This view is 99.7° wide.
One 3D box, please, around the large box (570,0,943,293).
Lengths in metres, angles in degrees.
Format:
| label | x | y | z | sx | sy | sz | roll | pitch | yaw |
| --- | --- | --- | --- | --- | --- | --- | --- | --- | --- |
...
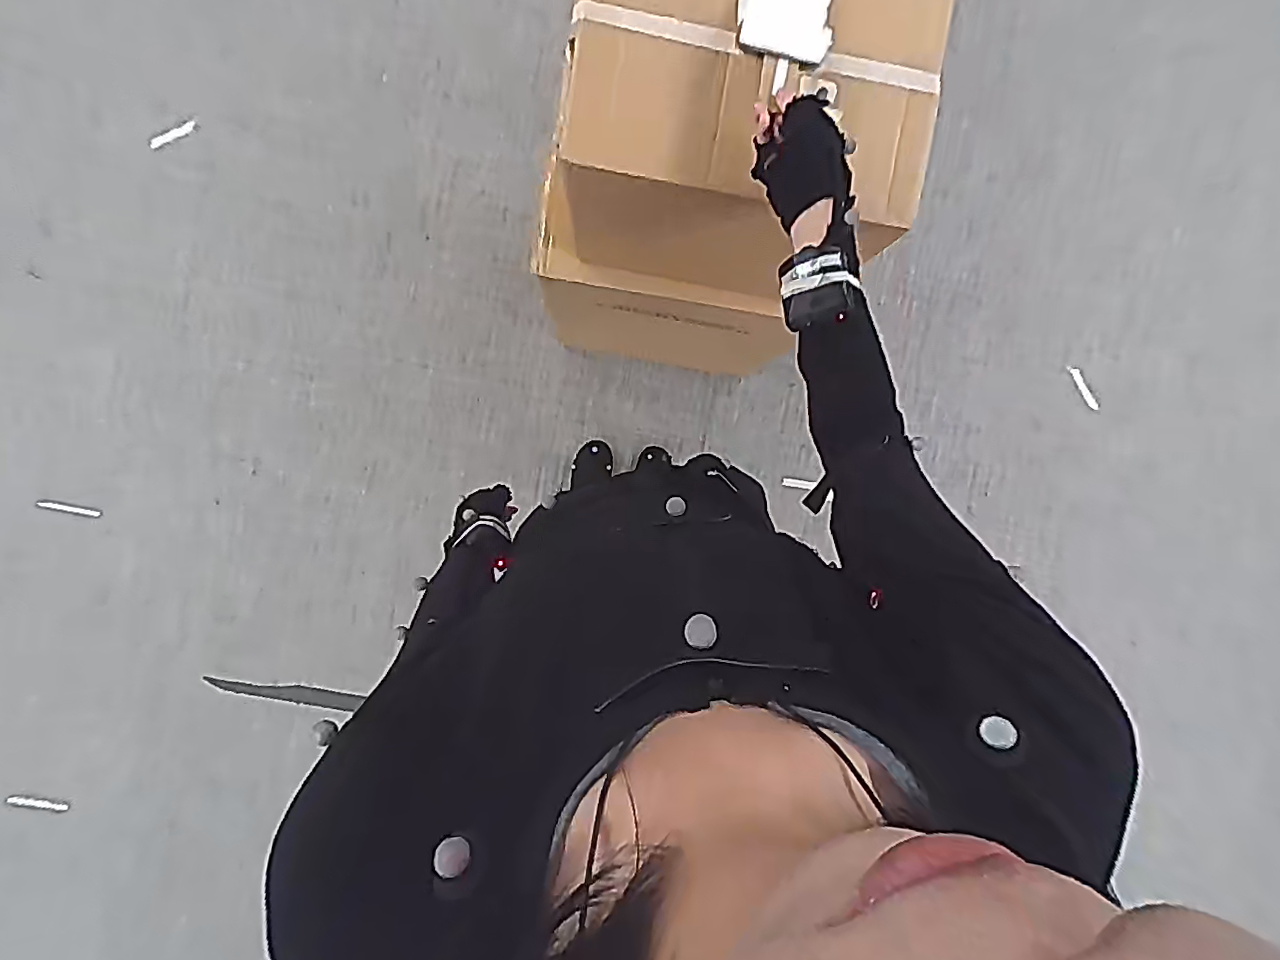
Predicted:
| label | x | y | z | sx | sy | sz | roll | pitch | yaw |
| --- | --- | --- | --- | --- | --- | --- | --- | --- | --- |
| large box | 0.124 | -0.485 | 0.754 | 0.408 | 0.320 | 0.320 | 9 | 93 | -5 |
